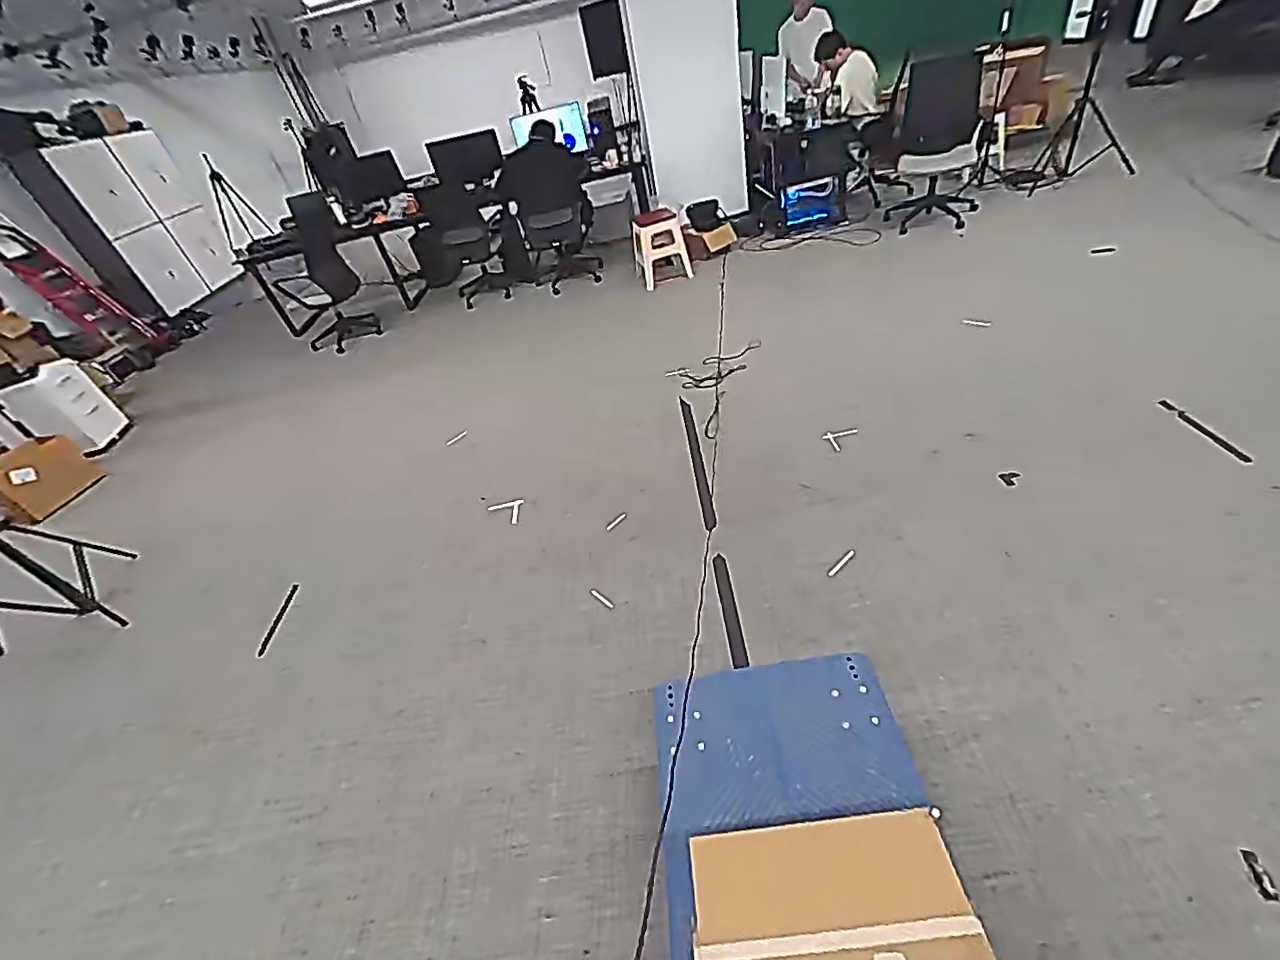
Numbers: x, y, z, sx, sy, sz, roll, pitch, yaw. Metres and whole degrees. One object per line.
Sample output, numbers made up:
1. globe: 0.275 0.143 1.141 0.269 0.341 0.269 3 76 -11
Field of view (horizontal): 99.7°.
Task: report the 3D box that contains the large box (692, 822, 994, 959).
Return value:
1. large box: 0.316 0.796 0.854 0.408 0.320 0.320 -10 38 5
